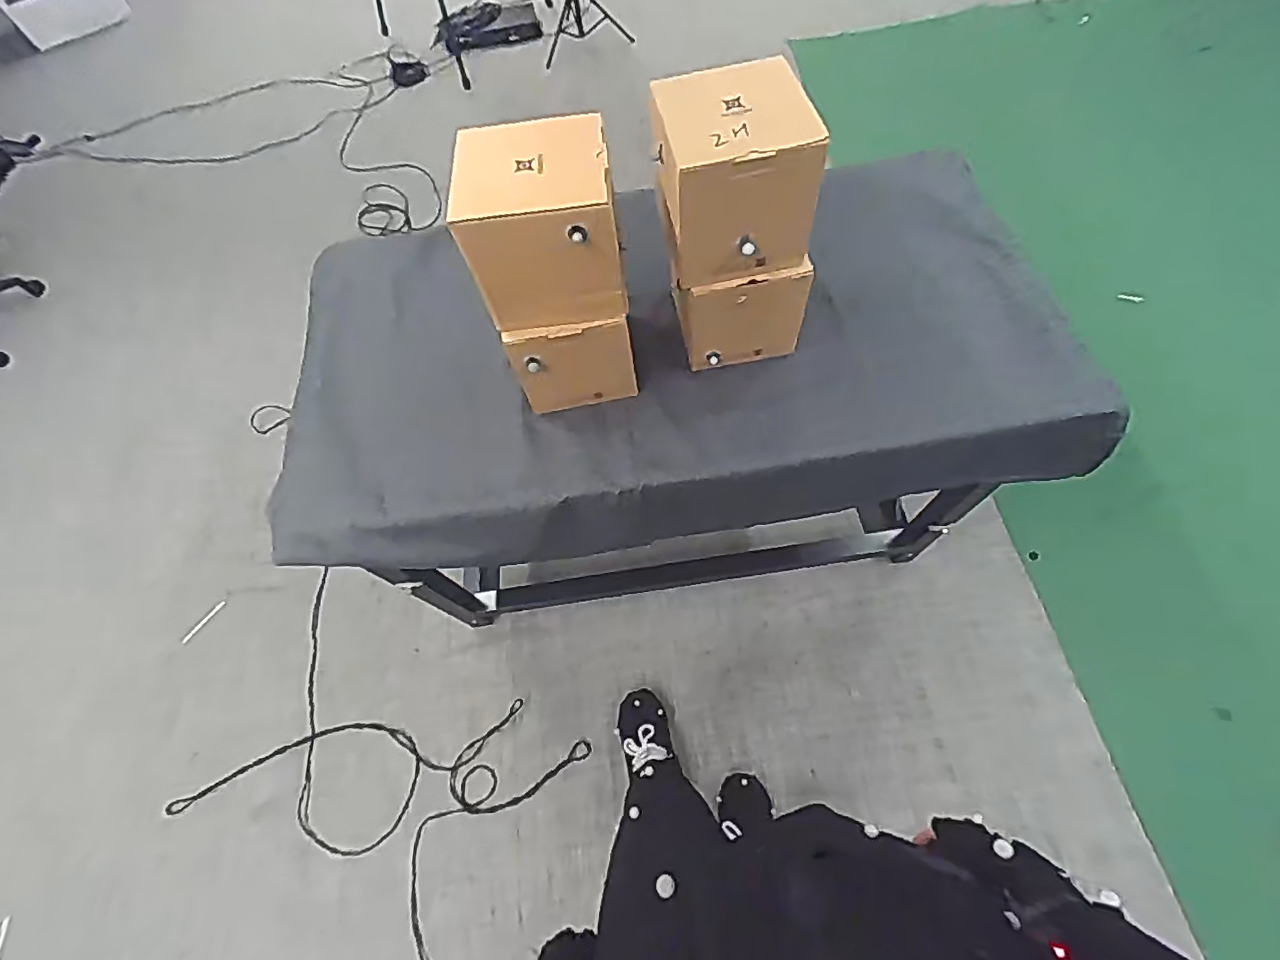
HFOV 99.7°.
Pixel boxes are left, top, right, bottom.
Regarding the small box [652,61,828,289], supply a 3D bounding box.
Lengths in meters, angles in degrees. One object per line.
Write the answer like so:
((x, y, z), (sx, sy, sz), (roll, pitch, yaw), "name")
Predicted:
((0.113, -0.375, 0.680), (0.168, 0.176, 0.179), (-12, 64, 1), "small box")

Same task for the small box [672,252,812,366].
((0.144, -0.291, 0.819), (0.168, 0.176, 0.179), (-10, 62, 1), "small box")

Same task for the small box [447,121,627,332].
((-0.116, -0.304, 0.672), (0.179, 0.176, 0.168), (-6, 62, 2), "small box")
